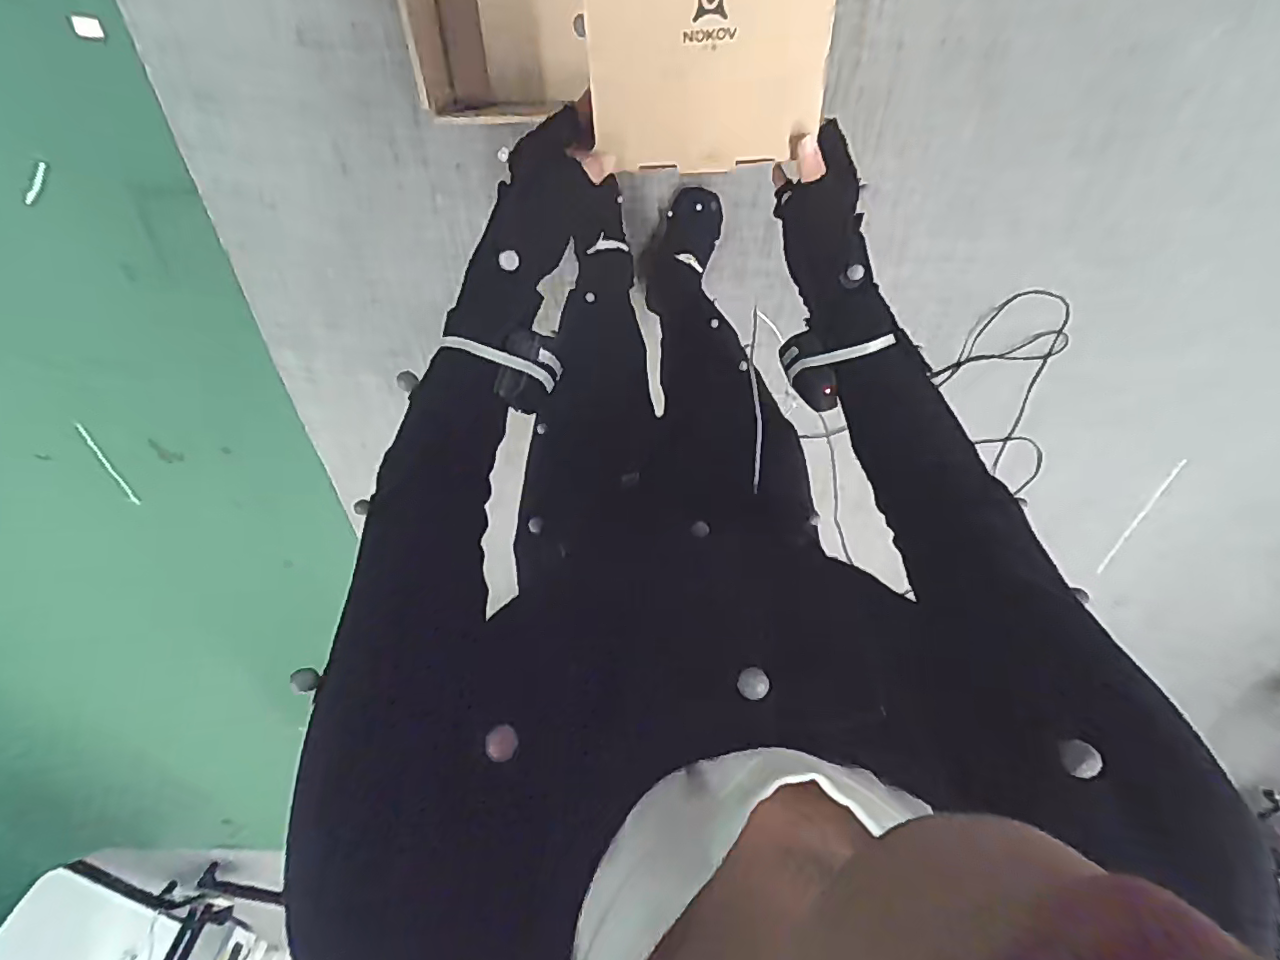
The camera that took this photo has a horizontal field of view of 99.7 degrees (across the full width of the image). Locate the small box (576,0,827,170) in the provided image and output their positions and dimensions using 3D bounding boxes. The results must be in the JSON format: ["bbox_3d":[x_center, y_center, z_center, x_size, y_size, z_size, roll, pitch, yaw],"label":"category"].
[{"bbox_3d":[0.042,-0.362,0.416,0.168,0.176,0.179,-4,130,5],"label":"small box"}]
